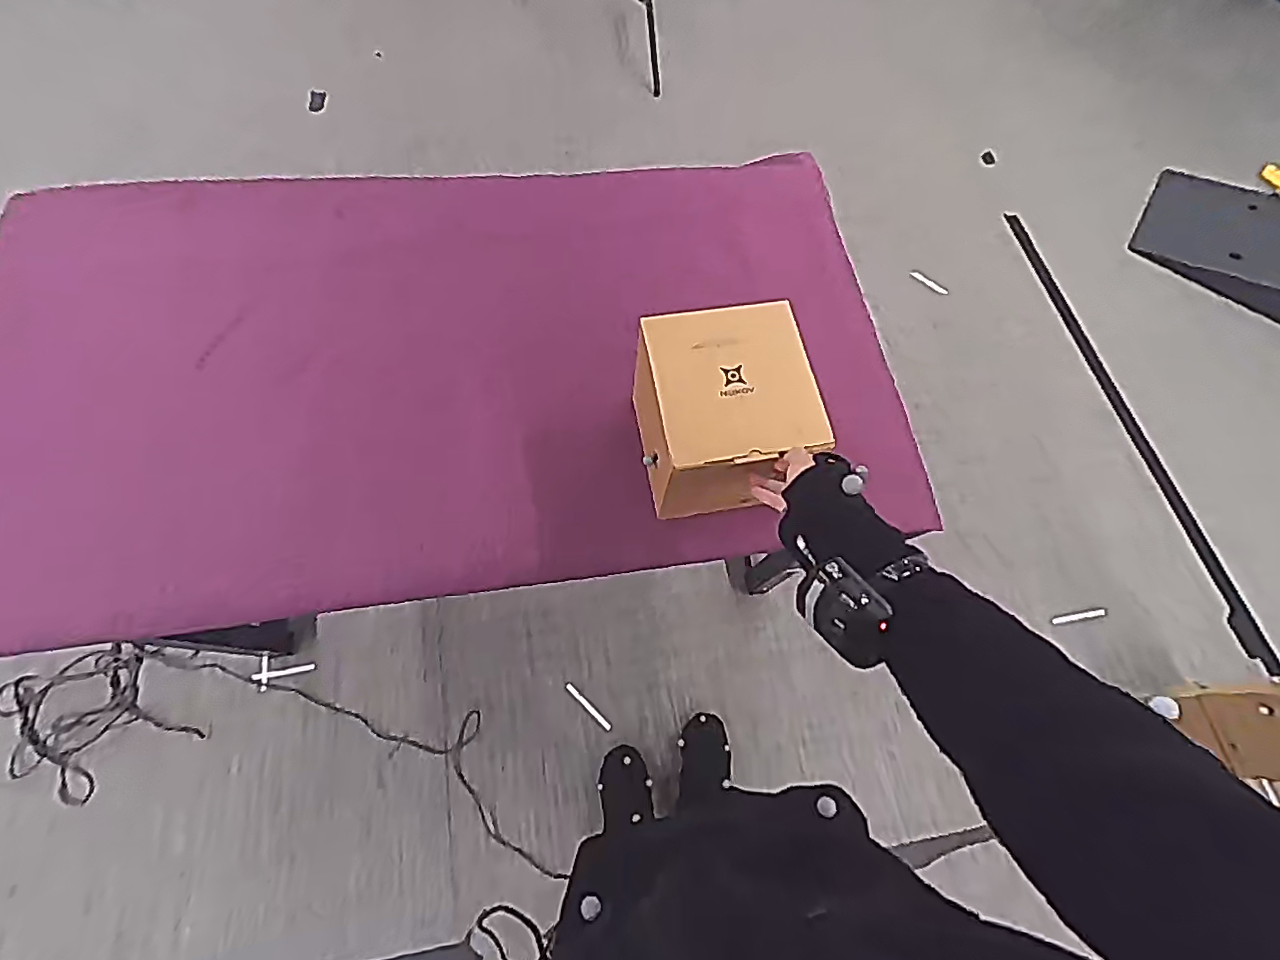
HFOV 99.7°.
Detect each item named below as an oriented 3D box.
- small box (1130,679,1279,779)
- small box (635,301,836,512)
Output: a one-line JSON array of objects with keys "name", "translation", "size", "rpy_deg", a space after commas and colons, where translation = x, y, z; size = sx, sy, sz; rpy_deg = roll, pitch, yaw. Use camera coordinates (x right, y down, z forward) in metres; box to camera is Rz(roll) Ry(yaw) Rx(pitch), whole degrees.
[{"name": "small box", "translation": [1.291, 0.561, 1.233], "size": [0.168, 0.176, 0.179], "rpy_deg": [-8, 70, -7]}, {"name": "small box", "translation": [0.092, -0.072, 0.615], "size": [0.168, 0.176, 0.179], "rpy_deg": [-9, 69, -8]}]
